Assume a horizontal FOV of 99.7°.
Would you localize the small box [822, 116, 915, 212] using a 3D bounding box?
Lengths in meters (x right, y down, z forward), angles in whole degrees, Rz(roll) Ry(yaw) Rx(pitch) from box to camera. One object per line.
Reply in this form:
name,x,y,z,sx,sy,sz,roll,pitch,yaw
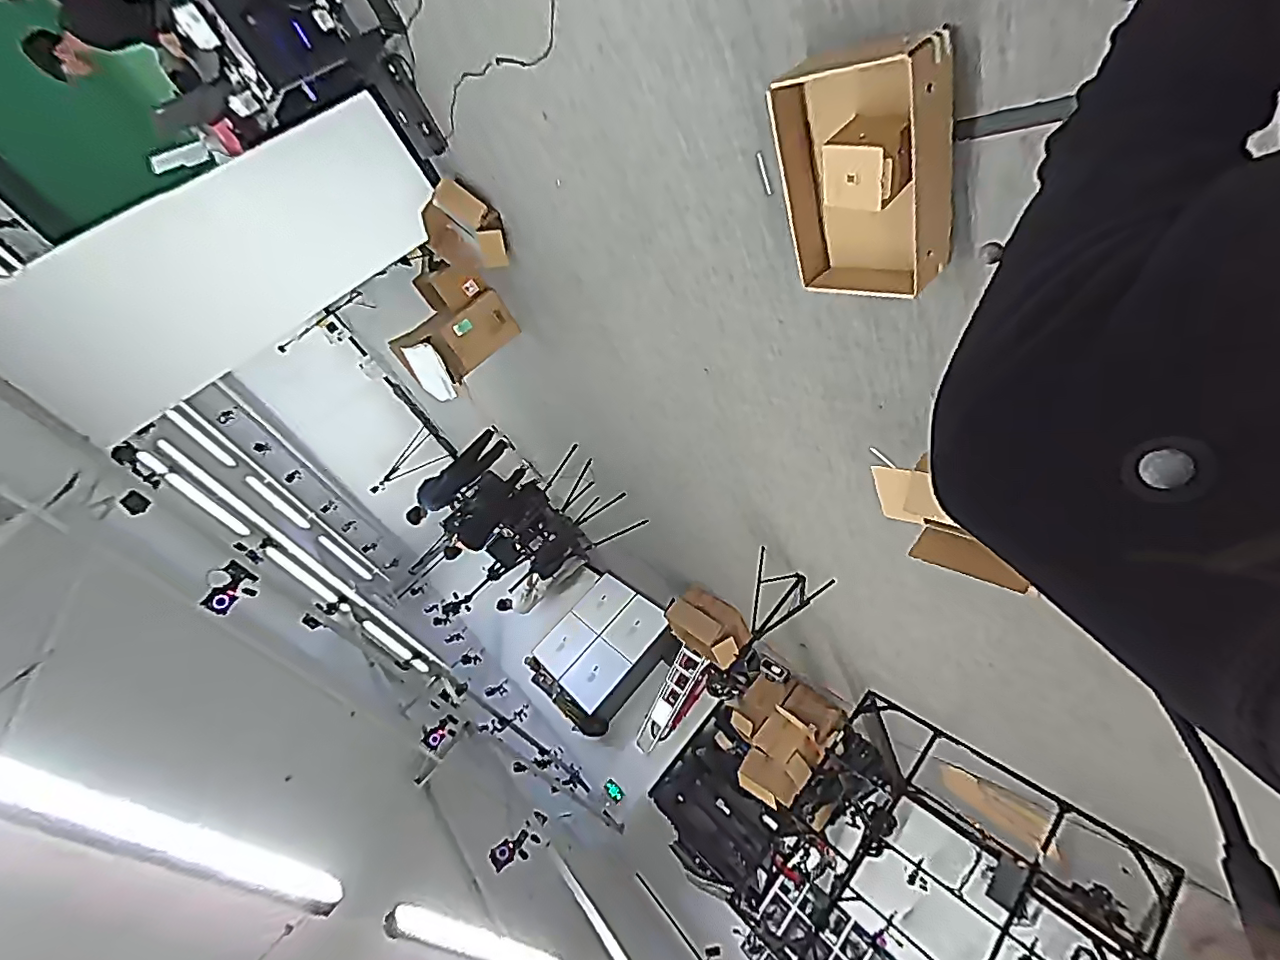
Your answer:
small box,0.615,-0.856,1.461,0.179,0.176,0.168,30,157,36
